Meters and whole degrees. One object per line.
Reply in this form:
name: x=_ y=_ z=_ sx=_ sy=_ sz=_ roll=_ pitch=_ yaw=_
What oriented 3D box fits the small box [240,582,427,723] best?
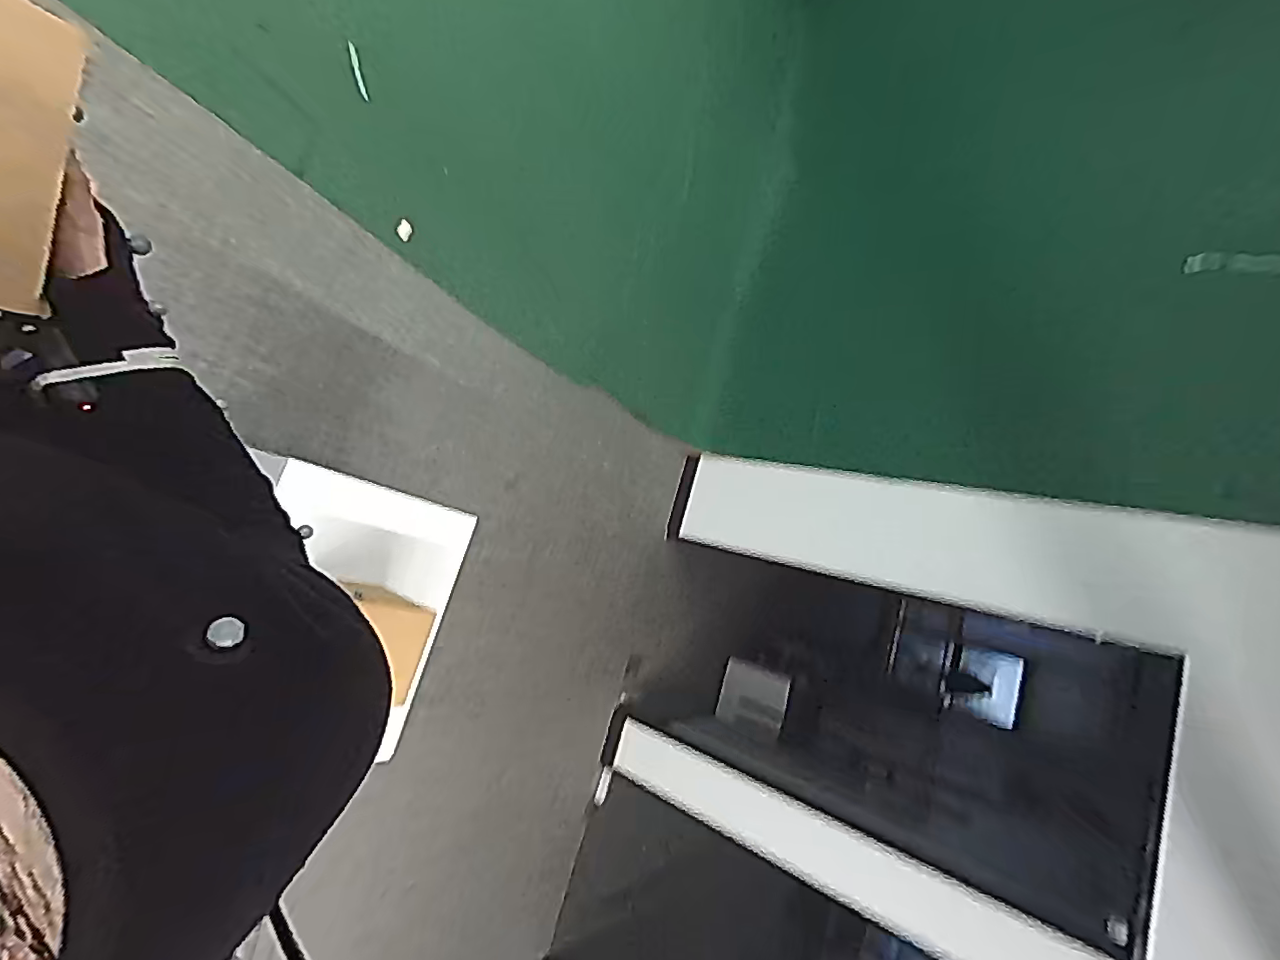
small box: x=-0.488 y=0.271 z=0.868 sx=0.179 sy=0.176 sz=0.168 roll=32 pitch=71 yaw=-54
